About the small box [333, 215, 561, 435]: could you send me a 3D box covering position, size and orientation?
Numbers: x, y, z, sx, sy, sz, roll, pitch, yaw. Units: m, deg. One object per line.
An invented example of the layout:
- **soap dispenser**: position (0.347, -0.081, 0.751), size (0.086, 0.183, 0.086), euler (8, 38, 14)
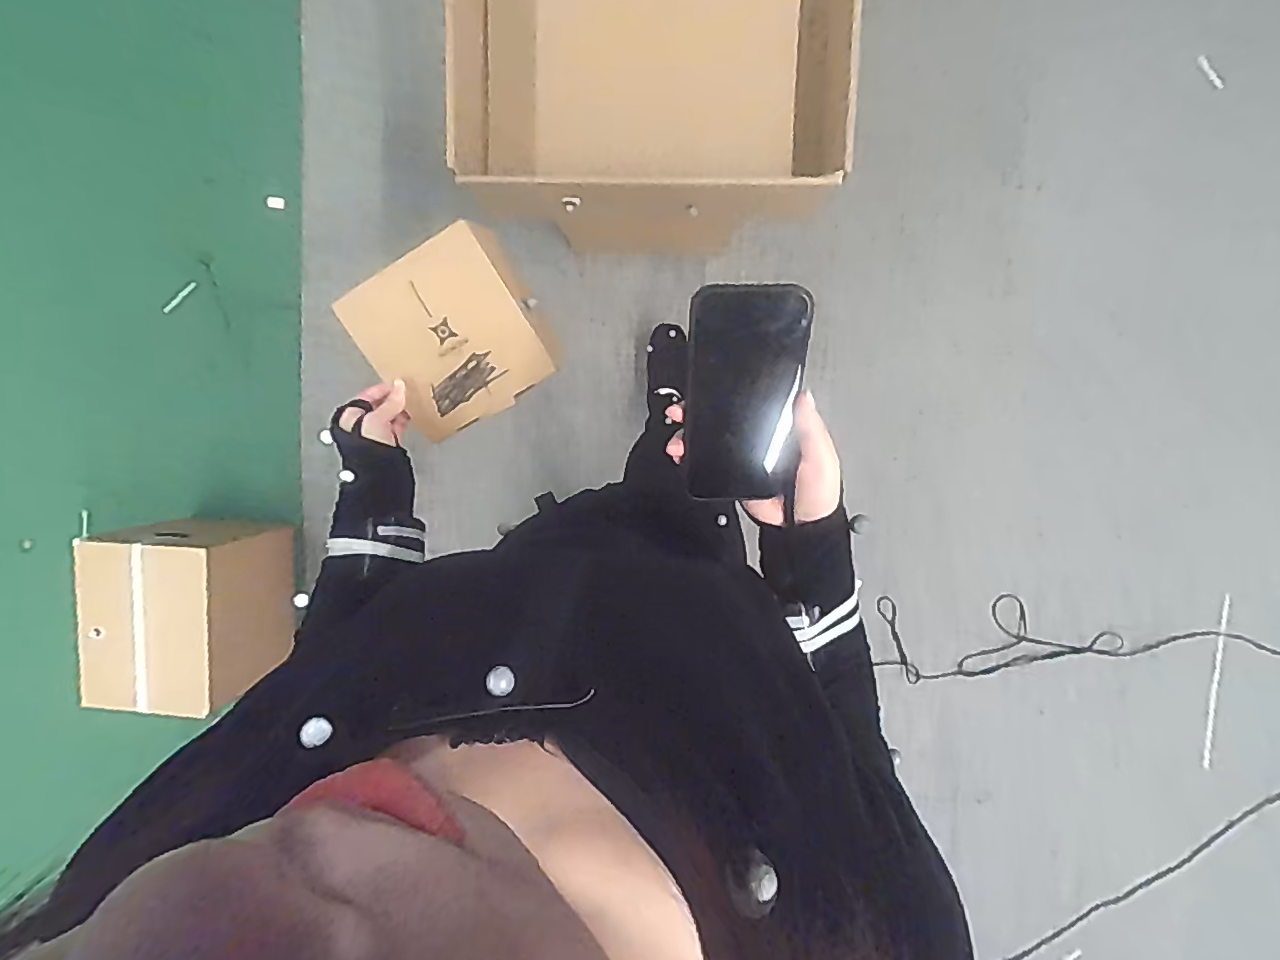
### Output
- **small box**: position (-0.207, -0.184, 0.642), size (0.168, 0.176, 0.179), euler (-29, 110, 7)
